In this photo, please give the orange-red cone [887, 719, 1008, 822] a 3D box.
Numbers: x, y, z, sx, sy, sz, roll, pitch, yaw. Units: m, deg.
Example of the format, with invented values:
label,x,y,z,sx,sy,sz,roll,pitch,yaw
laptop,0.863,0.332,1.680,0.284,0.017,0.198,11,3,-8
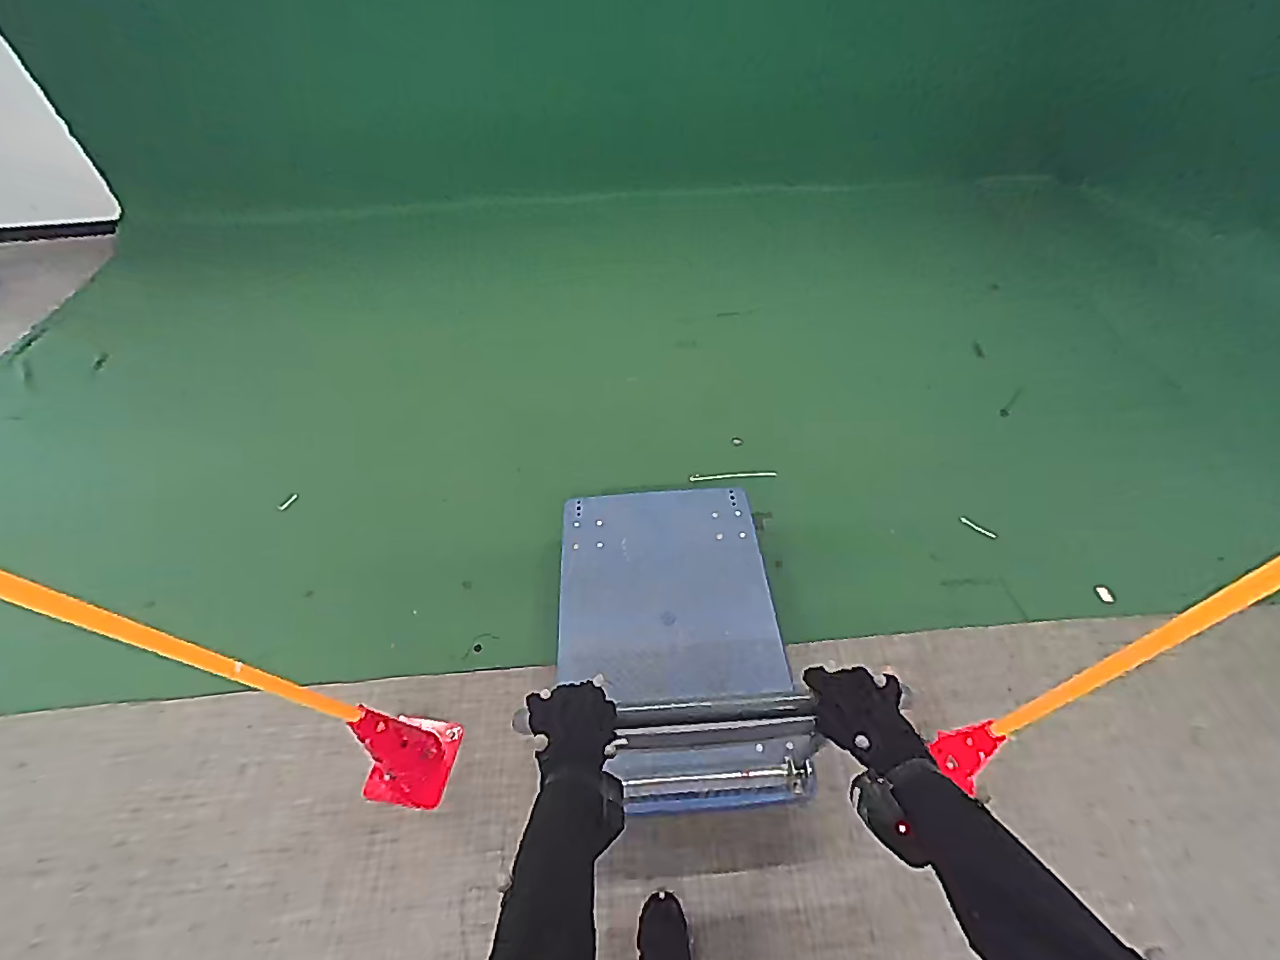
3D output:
label,x,y,z,sx,sy,sz,roll,pitch,yaw
orange-red cone,0.712,0.606,1.195,0.198,0.360,0.199,4,50,6
